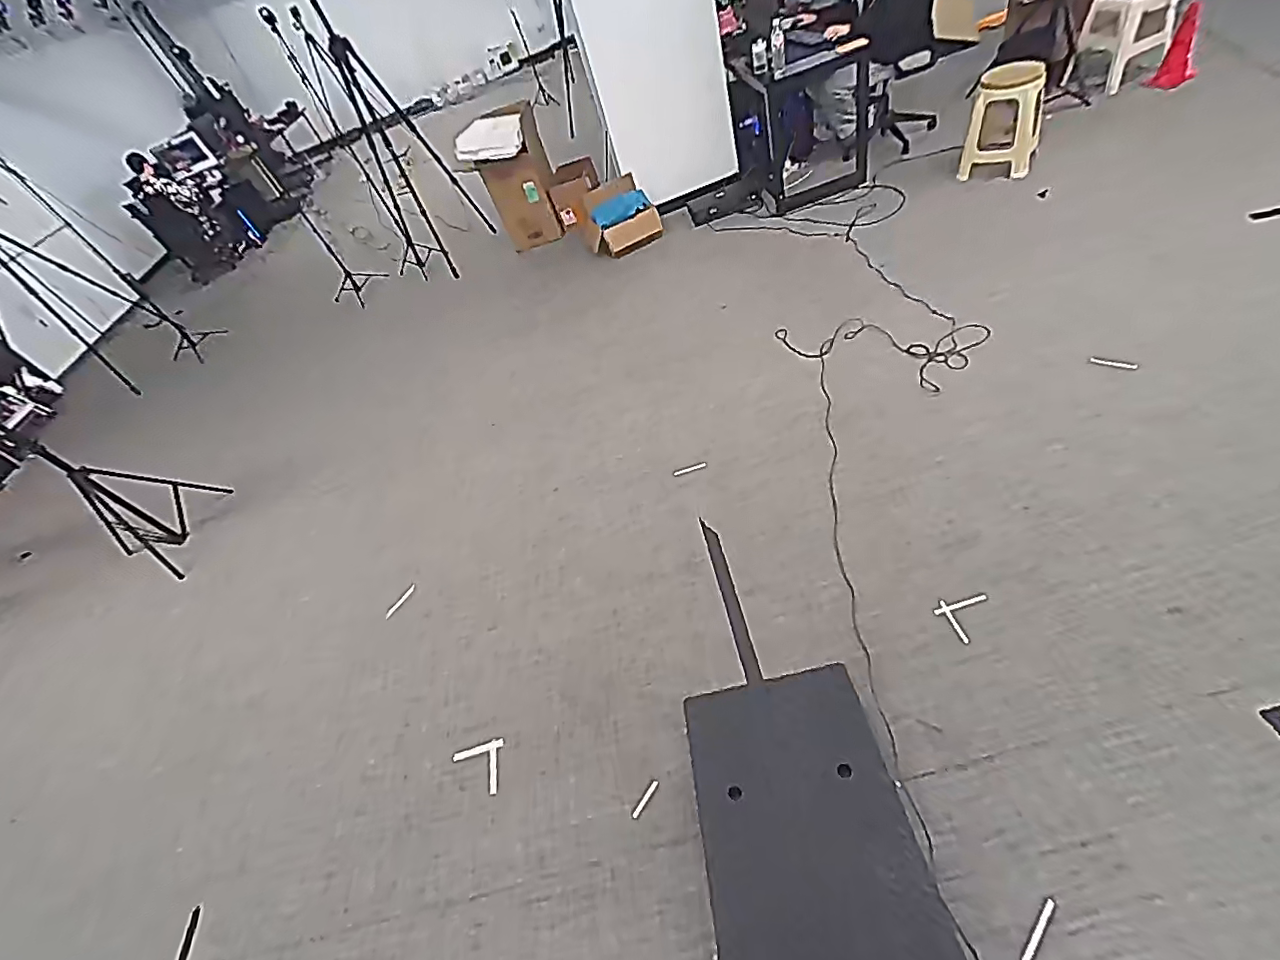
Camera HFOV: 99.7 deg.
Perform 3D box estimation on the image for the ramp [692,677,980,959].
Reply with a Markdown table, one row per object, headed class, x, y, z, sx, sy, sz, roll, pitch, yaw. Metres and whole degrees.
| class | x | y | z | sx | sy | sz | roll | pitch | yaw |
| --- | --- | --- | --- | --- | --- | --- | --- | --- | --- |
| ramp | 0.422 | 0.931 | 1.204 | 0.509 | 0.206 | 0.991 | -20 | 44 | 6 |
